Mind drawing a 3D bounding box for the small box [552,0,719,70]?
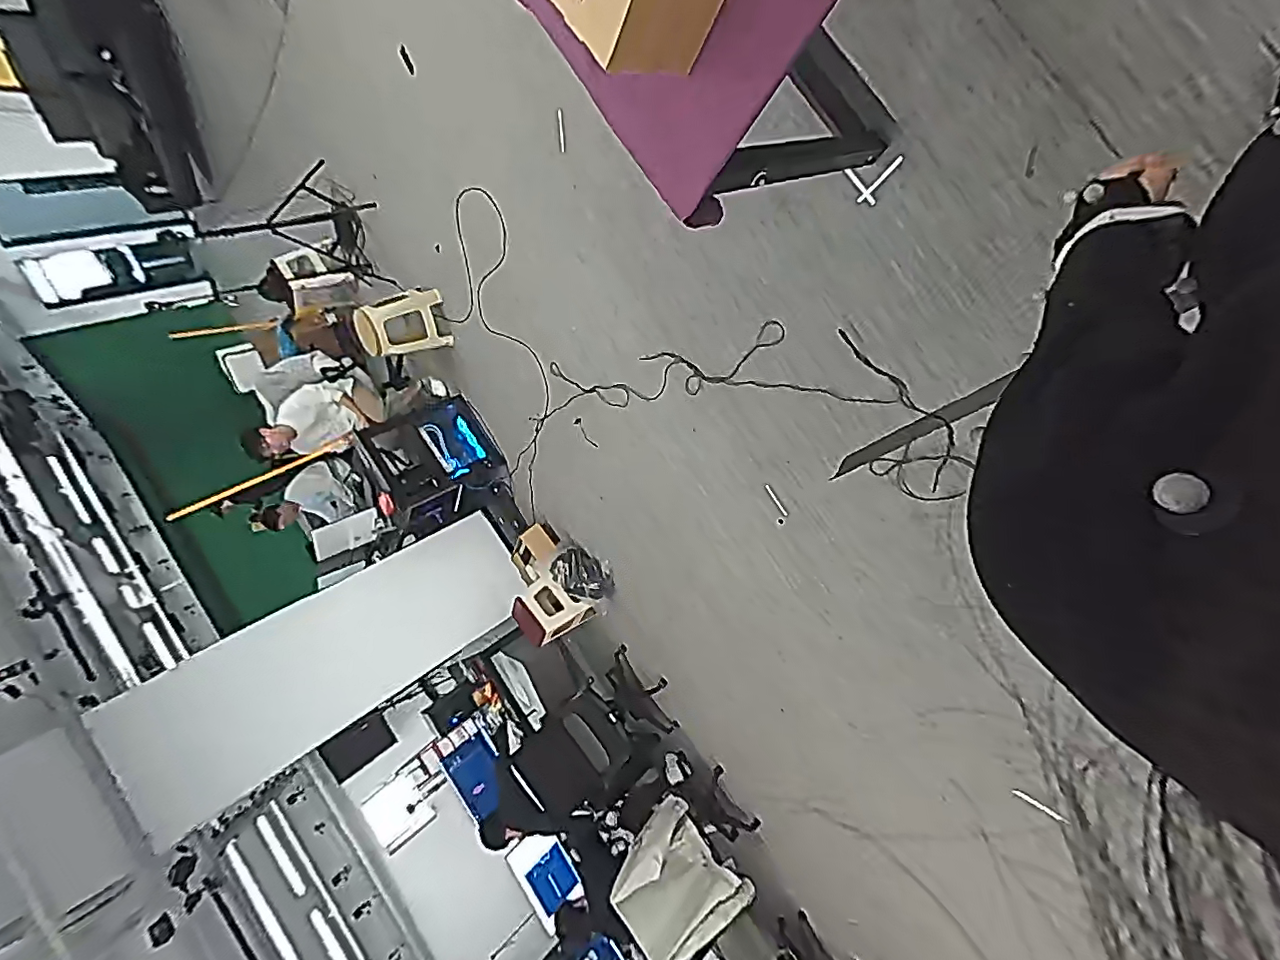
[{"bbox_3d":[0.001,-0.675,0.697,0.168,0.176,0.179,56,145,7],"label":"small box"}]
